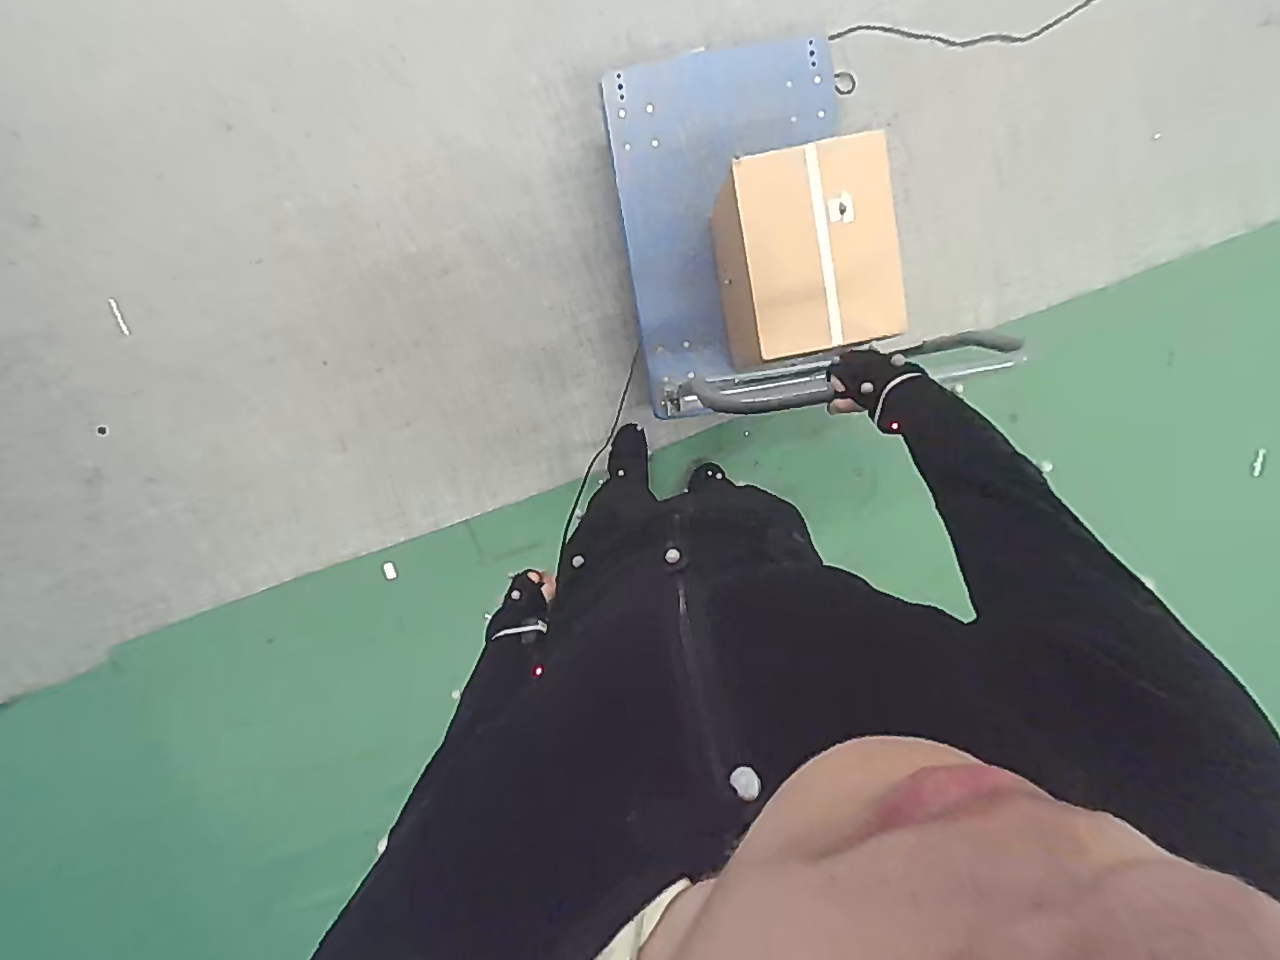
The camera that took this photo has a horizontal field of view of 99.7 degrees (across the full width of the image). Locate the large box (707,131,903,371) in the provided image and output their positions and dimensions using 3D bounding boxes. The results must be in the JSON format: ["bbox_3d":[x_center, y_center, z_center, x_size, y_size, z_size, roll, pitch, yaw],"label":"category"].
[{"bbox_3d":[0.355,-0.490,1.244,0.320,0.320,0.408,-11,97,-1],"label":"large box"}]
